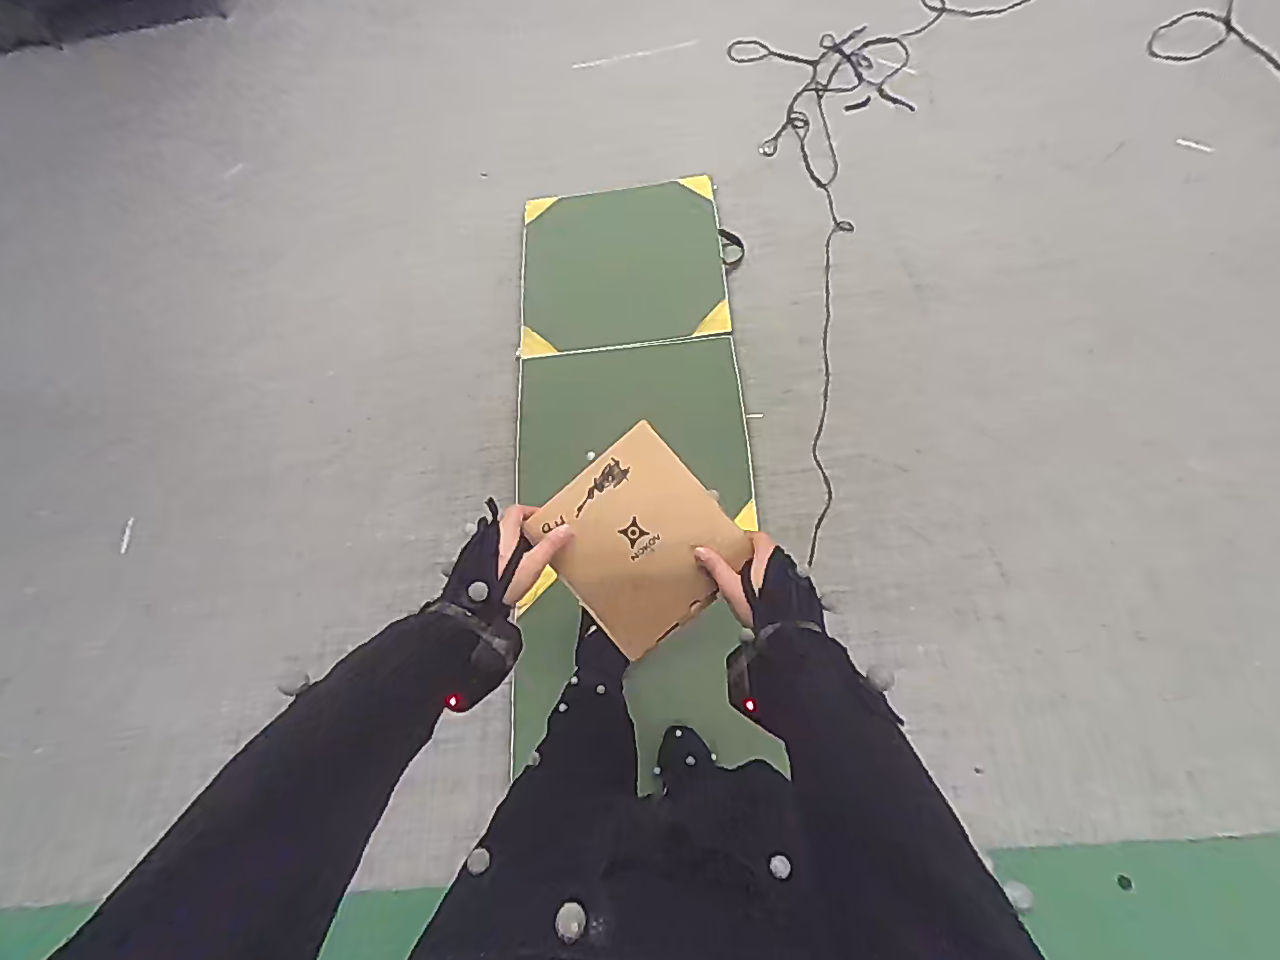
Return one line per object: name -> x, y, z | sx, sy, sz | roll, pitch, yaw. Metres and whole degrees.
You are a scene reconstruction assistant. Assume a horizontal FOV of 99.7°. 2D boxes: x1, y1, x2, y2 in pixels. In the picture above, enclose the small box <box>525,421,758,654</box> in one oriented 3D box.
small box -> 0.005, 0.060, 0.611 | 0.168, 0.176, 0.179 | -40, 85, -1
